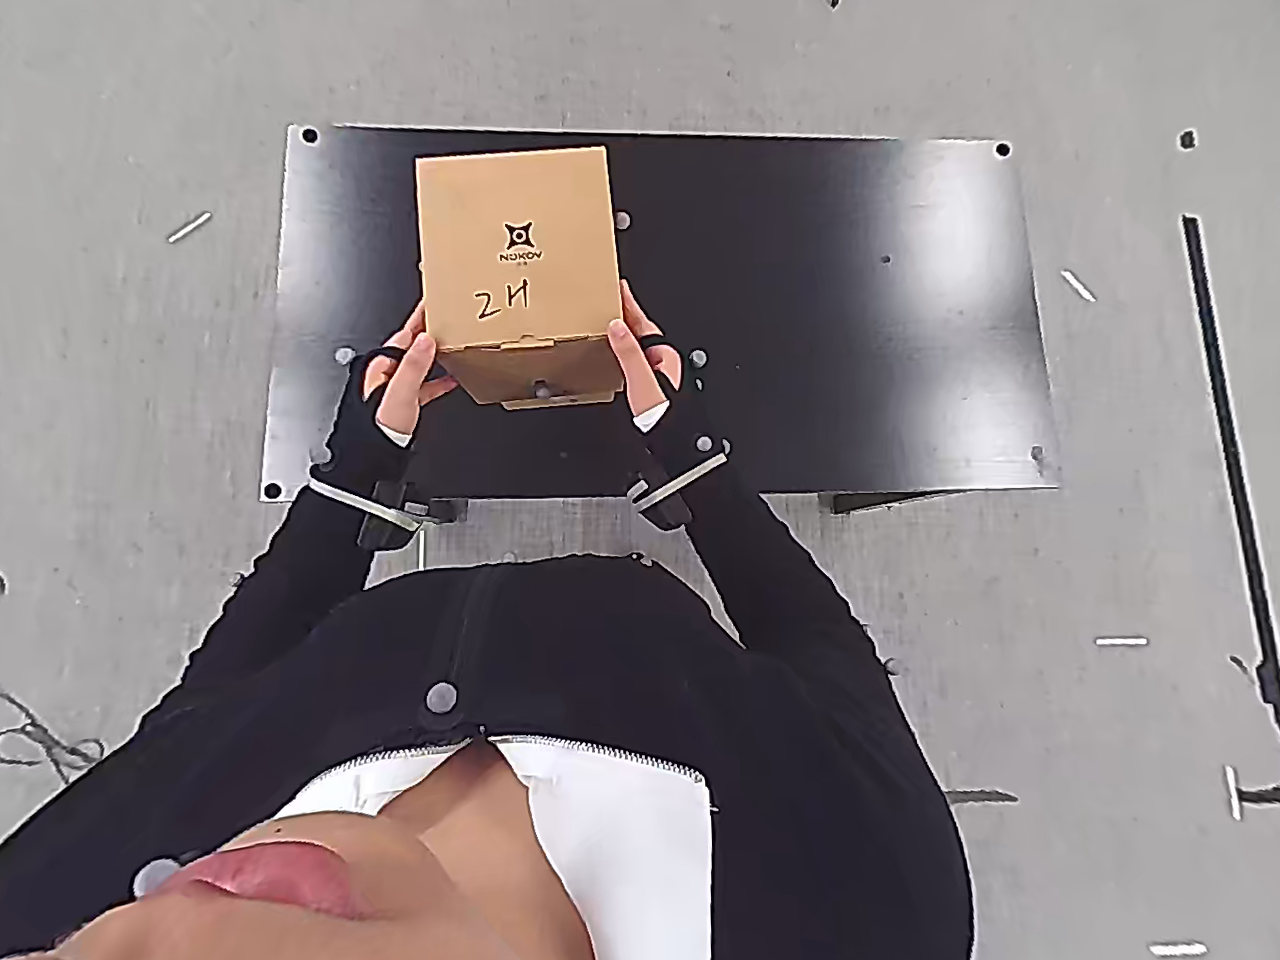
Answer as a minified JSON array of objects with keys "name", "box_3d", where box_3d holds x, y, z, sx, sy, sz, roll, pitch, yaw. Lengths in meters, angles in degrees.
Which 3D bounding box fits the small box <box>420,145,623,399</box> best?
[{"name":"small box","box_3d":[-0.107,-0.194,0.541,0.168,0.176,0.179,-5,82,-2]}]
